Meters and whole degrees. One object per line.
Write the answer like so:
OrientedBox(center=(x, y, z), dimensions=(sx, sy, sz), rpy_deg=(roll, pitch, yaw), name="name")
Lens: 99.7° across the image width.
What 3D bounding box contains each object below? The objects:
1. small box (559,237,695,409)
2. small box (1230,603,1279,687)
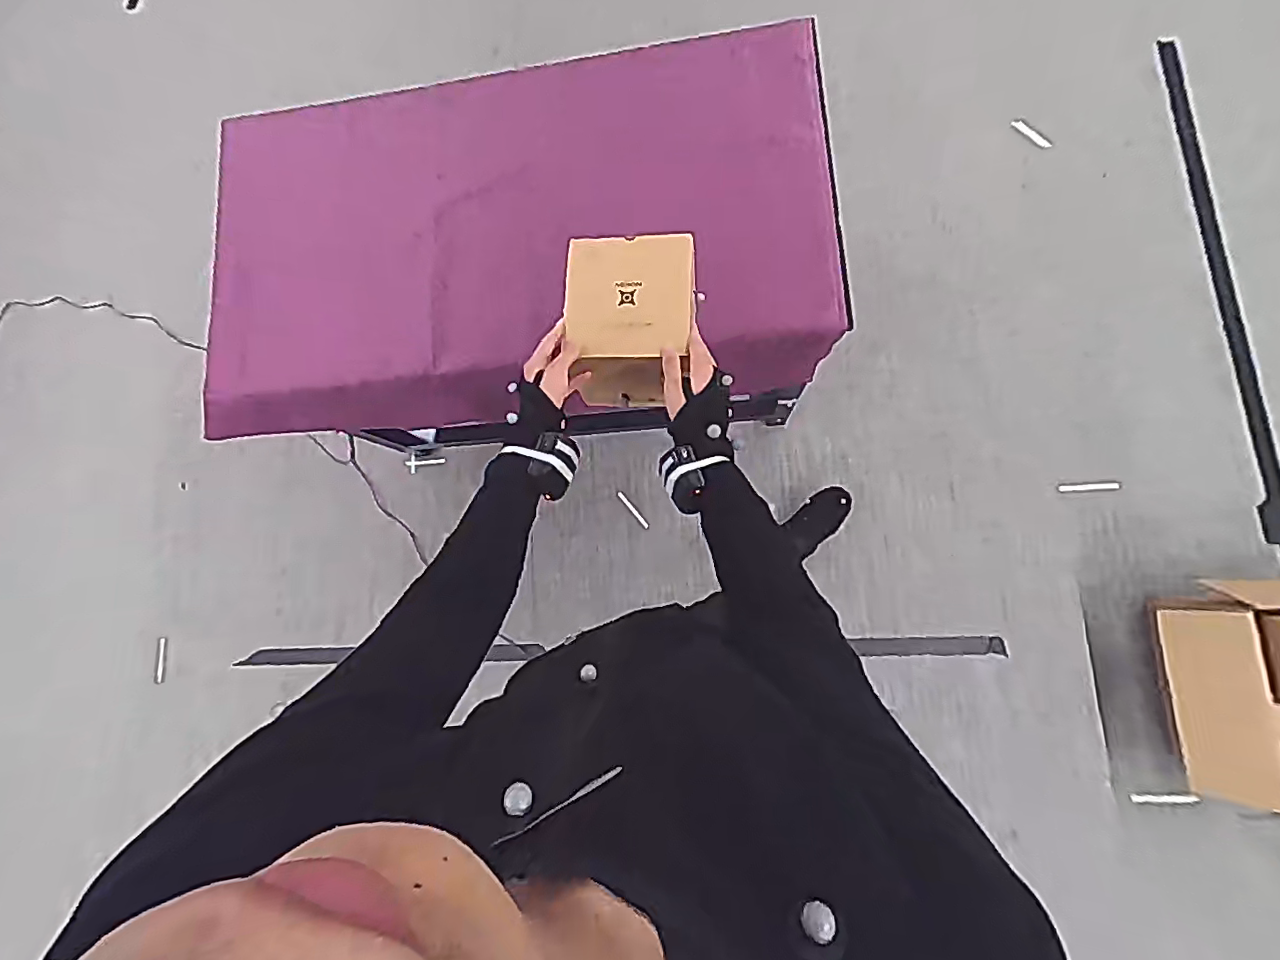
OrientedBox(center=(-0.008, -0.215, 0.766), dimensions=(0.168, 0.176, 0.179), rpy_deg=(1, 76, 7), name="small box")
OrientedBox(center=(1.420, 0.352, 1.144), dimensions=(0.179, 0.176, 0.168), rpy_deg=(-6, 82, 8), name="small box")
